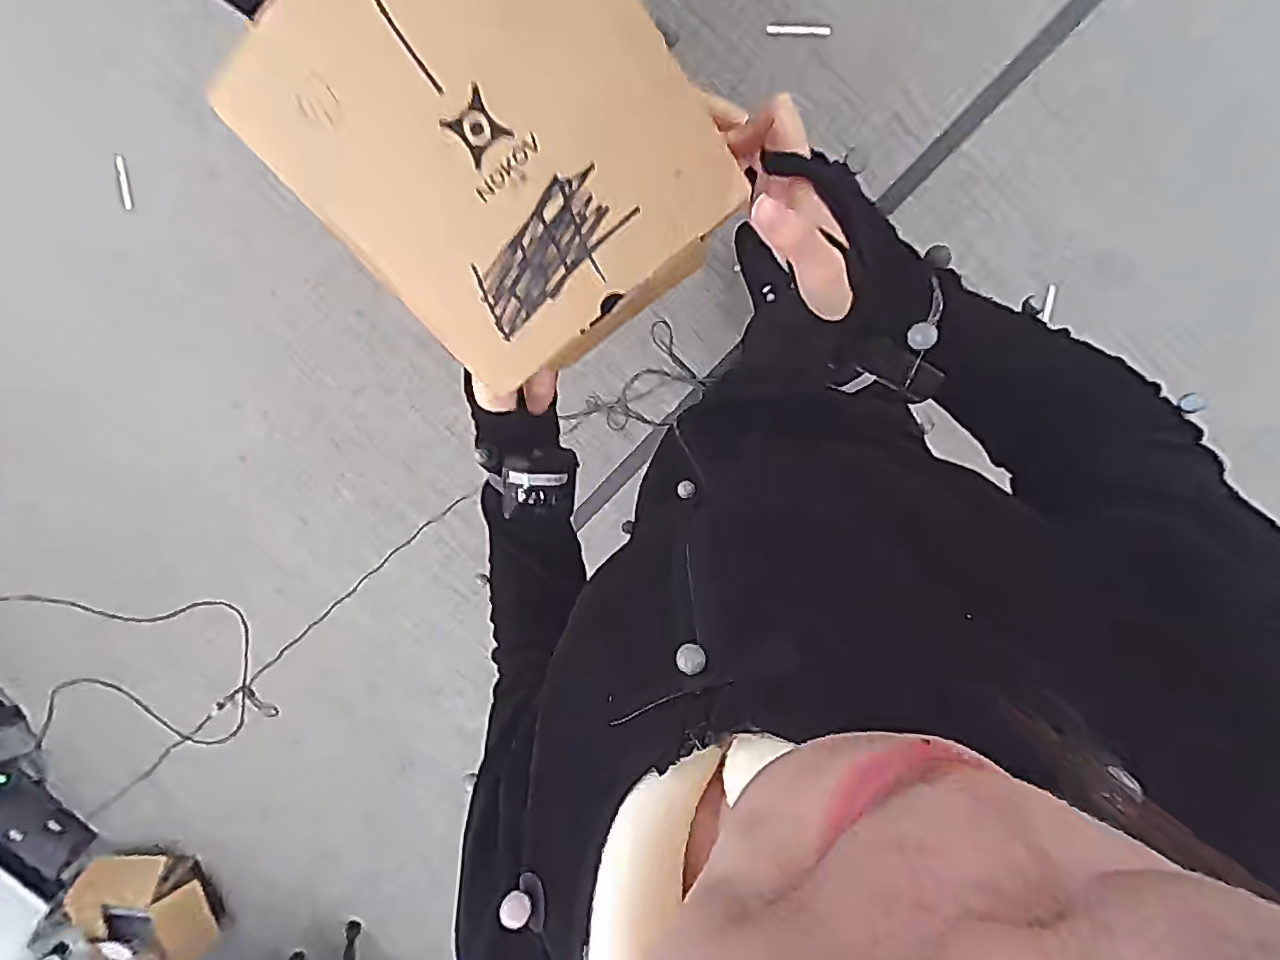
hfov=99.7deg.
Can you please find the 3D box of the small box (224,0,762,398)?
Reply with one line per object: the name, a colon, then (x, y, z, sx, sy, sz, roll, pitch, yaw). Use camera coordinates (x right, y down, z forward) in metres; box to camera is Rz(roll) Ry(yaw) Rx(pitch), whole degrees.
small box: (-0.059, -0.184, 0.303, 0.168, 0.176, 0.179, -34, 115, 17)
